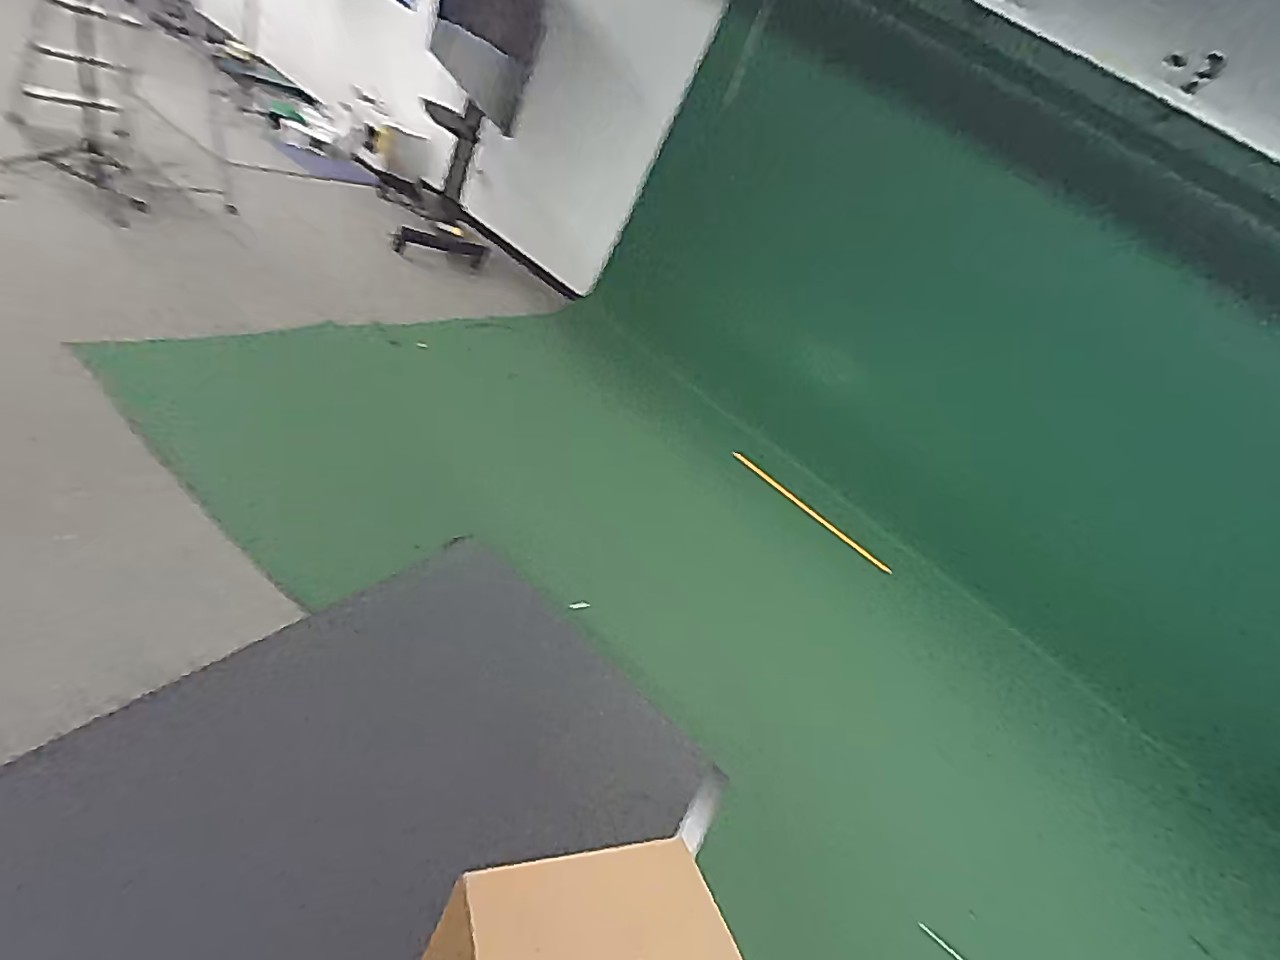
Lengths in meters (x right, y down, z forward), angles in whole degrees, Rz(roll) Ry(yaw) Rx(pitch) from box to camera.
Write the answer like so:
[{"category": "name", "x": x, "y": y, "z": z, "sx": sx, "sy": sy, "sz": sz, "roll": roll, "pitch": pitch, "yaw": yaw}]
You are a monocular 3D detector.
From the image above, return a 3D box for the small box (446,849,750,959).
[{"category": "small box", "x": -0.030, "y": 0.349, "z": 0.296, "sx": 0.168, "sy": 0.176, "sz": 0.179, "roll": 17, "pitch": 17, "yaw": -29}]
